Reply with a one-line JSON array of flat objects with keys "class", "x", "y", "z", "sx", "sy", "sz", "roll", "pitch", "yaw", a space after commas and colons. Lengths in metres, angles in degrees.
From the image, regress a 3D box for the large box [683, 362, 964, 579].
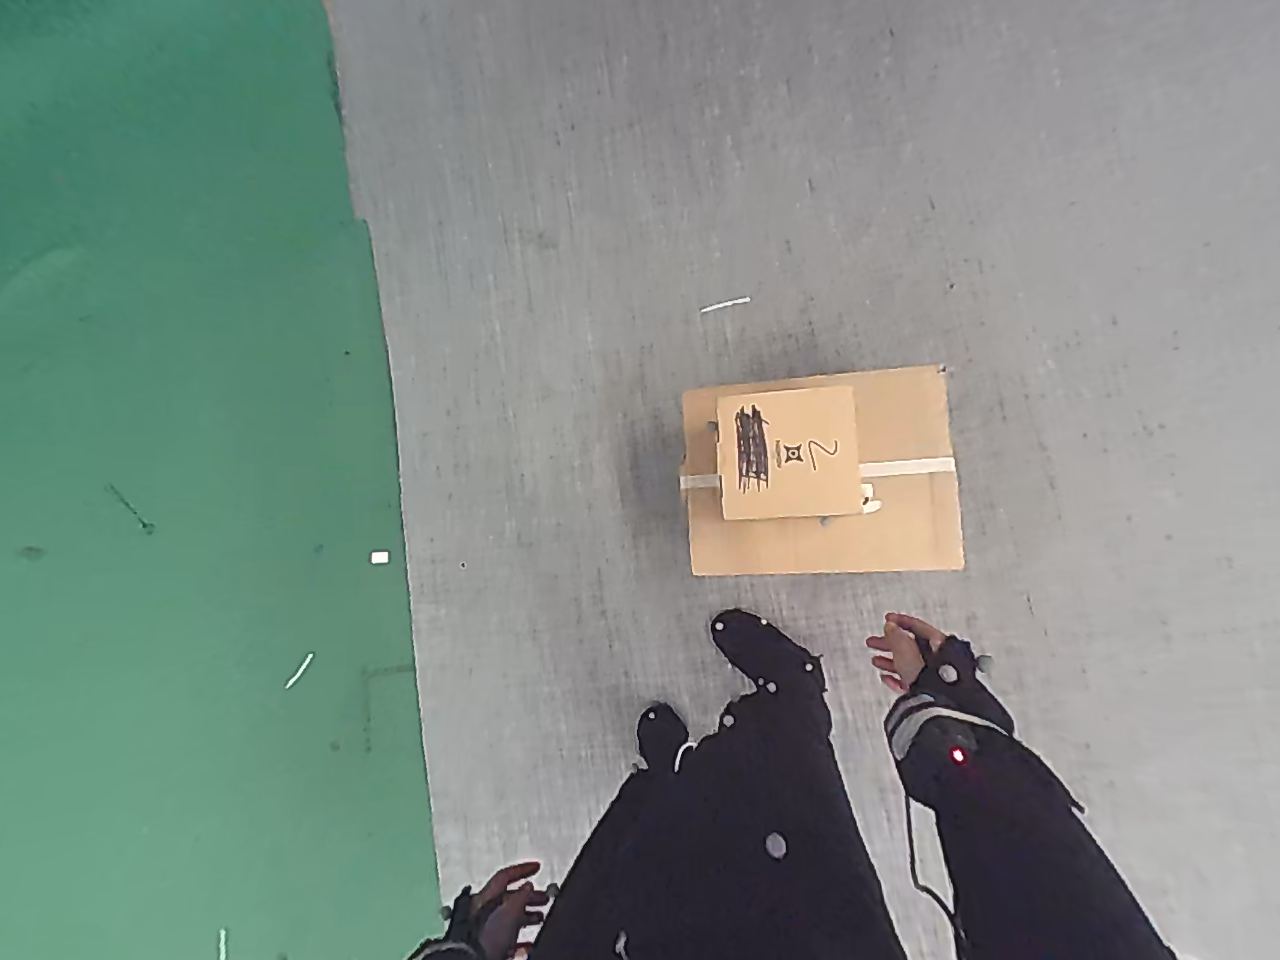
[{"class": "large box", "x": 0.305, "y": 0.003, "z": 0.993, "sx": 0.408, "sy": 0.320, "sz": 0.320, "roll": -5, "pitch": 85, "yaw": 12}]
